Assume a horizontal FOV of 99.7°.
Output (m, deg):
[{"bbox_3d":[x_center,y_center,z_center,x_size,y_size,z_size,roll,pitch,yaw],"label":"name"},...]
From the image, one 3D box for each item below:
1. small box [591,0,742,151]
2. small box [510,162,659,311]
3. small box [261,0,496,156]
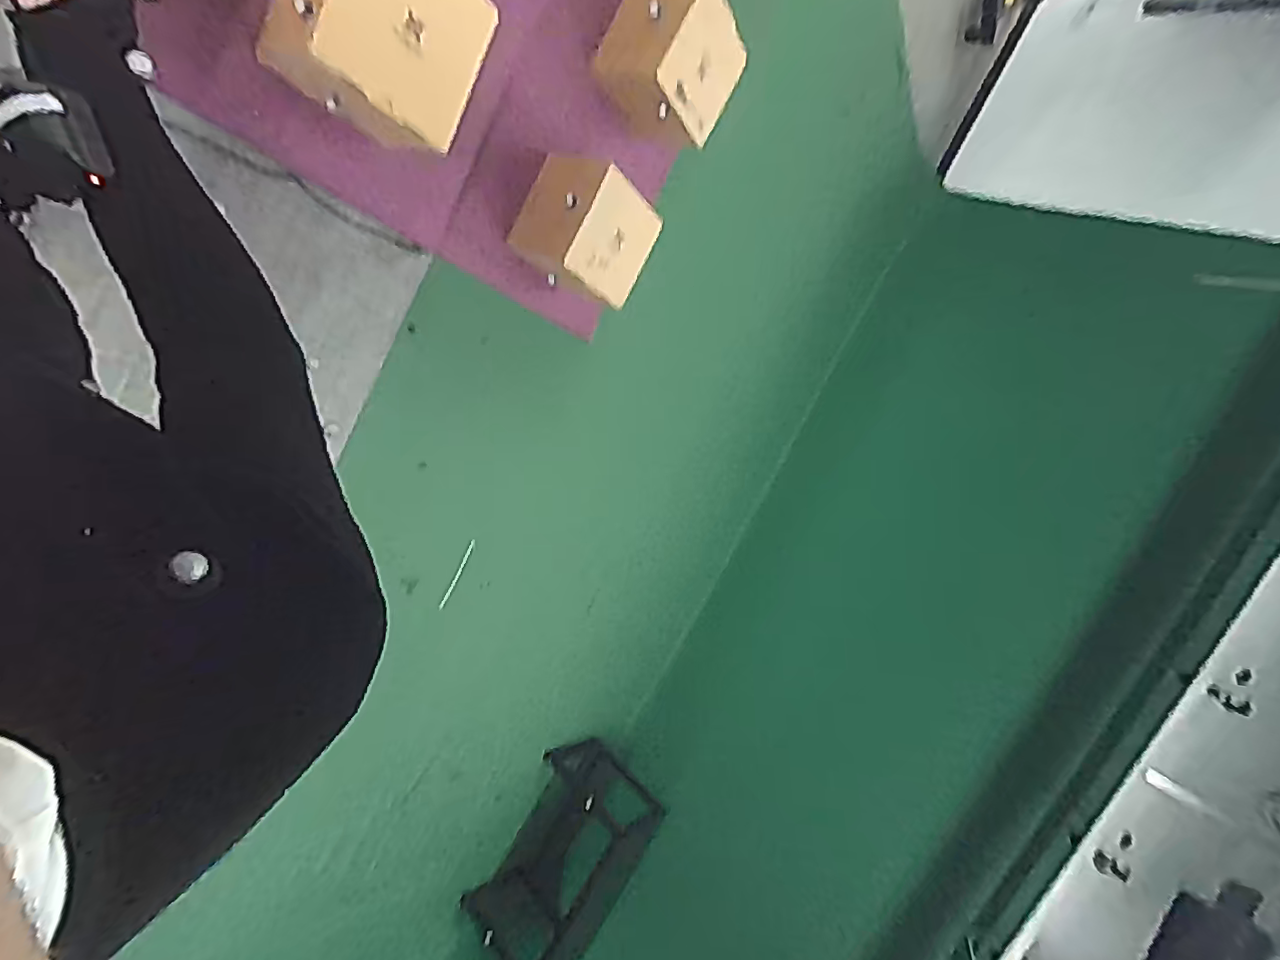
[{"bbox_3d":[0.044,-0.718,0.944,0.168,0.176,0.179,22,98,-56],"label":"small box"},{"bbox_3d":[-0.102,-0.437,0.969,0.168,0.176,0.179,22,98,-55],"label":"small box"},{"bbox_3d":[-0.309,-0.524,0.637,0.168,0.176,0.179,13,105,-56],"label":"small box"}]
